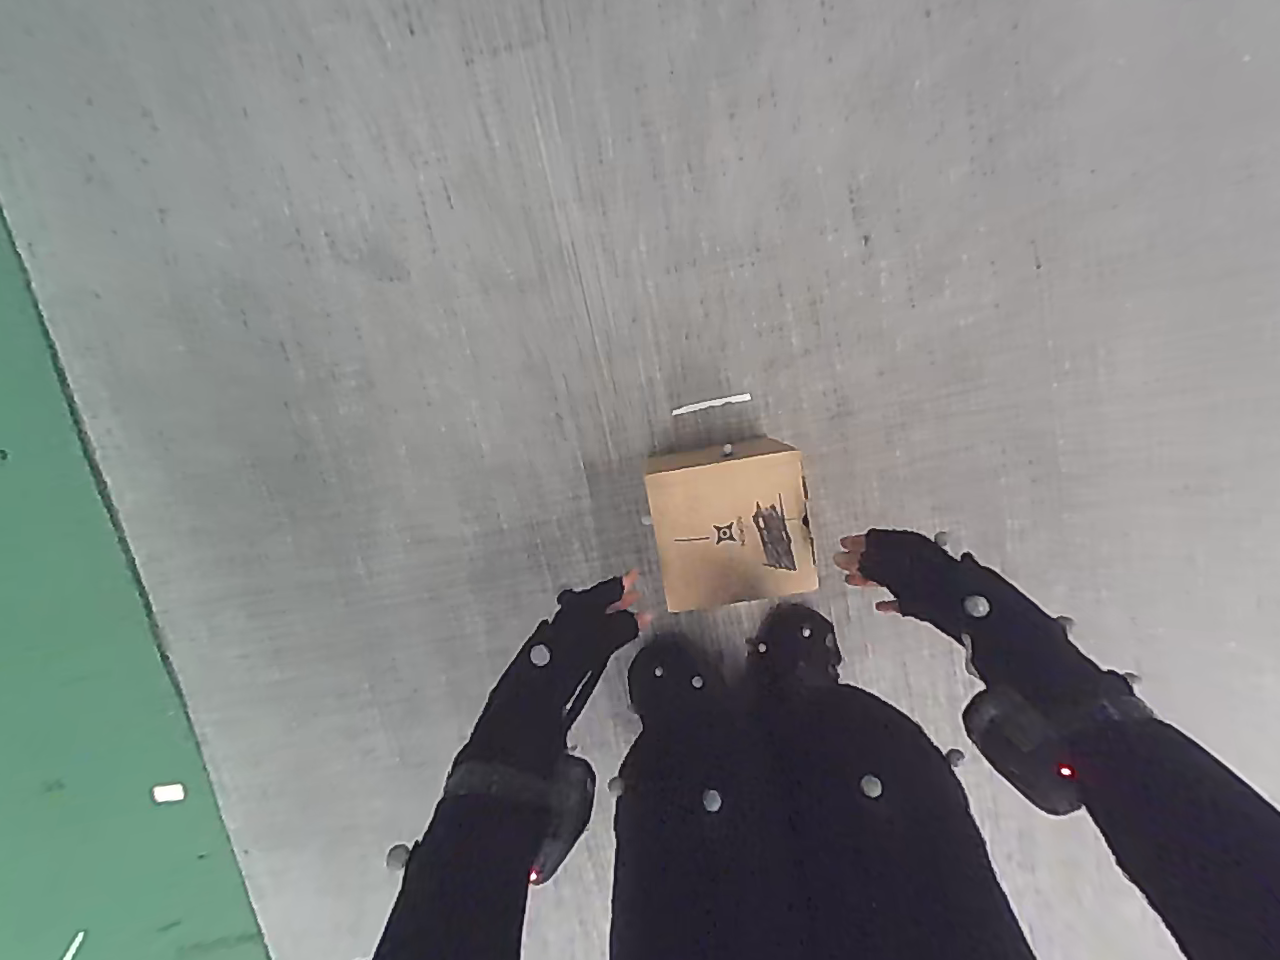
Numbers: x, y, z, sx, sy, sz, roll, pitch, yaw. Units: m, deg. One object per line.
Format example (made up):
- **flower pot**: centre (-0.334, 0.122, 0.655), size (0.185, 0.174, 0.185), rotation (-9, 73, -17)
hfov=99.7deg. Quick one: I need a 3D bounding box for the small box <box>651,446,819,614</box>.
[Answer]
- **small box**: centre (0.111, 0.053, 0.695), size (0.179, 0.176, 0.168), rotation (-10, 97, 4)
